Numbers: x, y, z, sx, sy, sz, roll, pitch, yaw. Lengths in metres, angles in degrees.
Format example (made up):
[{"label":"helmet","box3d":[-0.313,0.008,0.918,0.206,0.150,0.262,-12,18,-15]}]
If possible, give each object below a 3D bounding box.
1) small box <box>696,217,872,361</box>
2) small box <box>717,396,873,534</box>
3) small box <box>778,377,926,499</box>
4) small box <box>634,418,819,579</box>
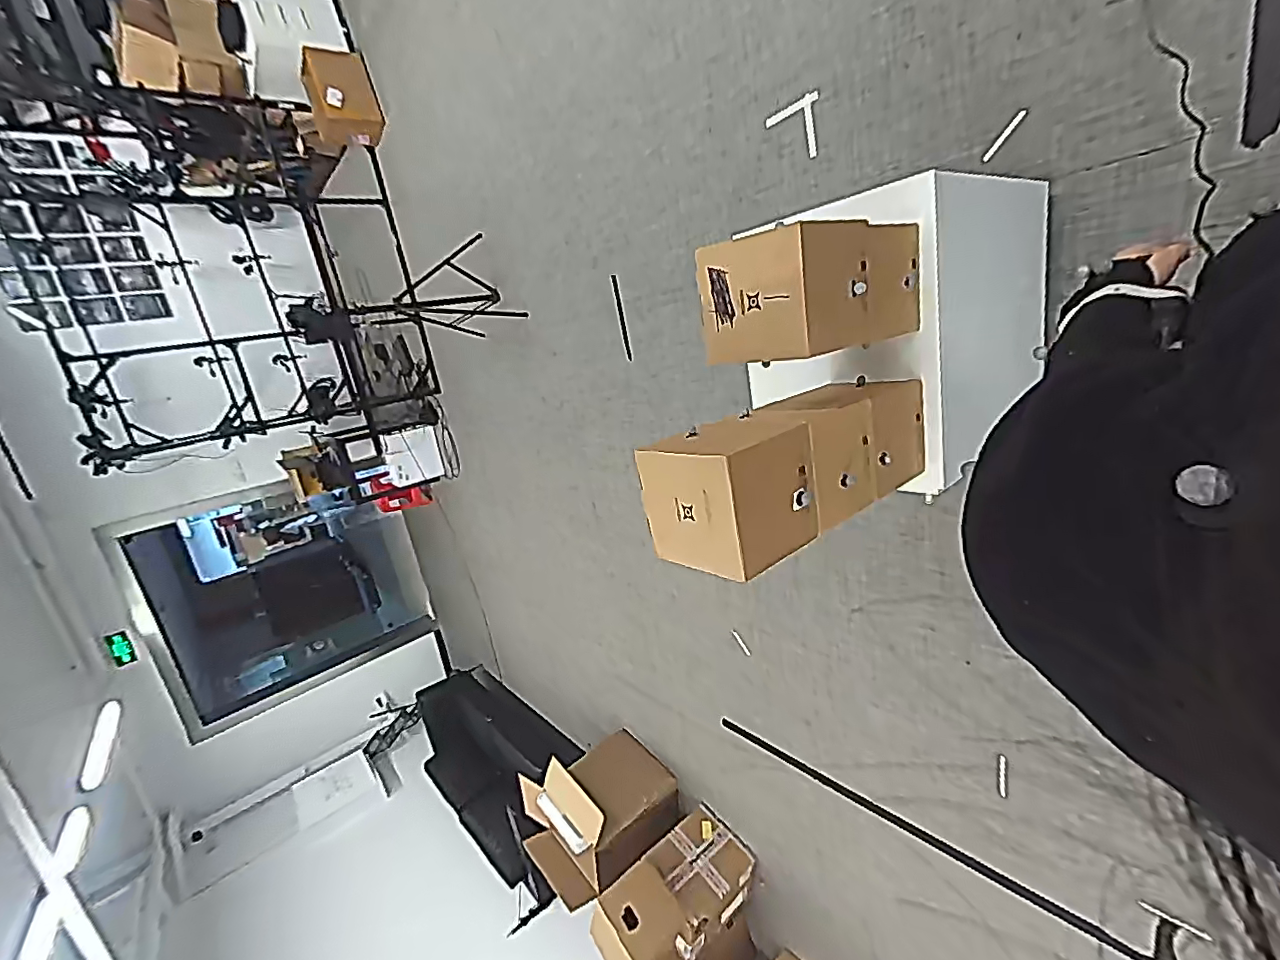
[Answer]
[{"label":"small box","box3d":[0.206,-0.267,0.771,0.179,0.176,0.168,10,116,49]},{"label":"small box","box3d":[0.246,-0.033,0.843,0.179,0.176,0.168,8,113,51]},{"label":"small box","box3d":[0.368,-0.080,0.938,0.179,0.176,0.168,10,116,52]},{"label":"small box","box3d":[0.121,0.014,0.750,0.179,0.176,0.168,6,113,51]}]
